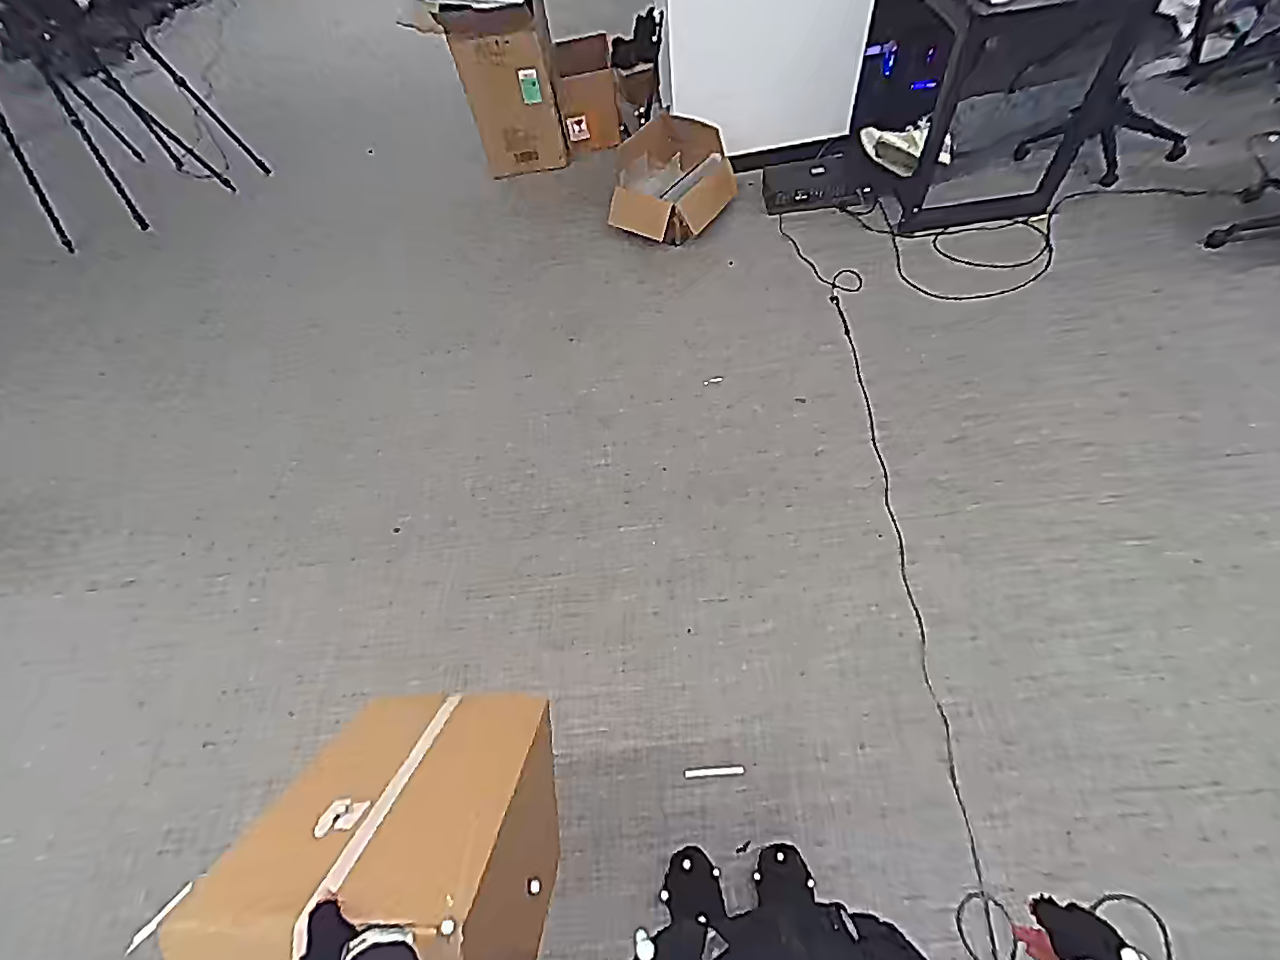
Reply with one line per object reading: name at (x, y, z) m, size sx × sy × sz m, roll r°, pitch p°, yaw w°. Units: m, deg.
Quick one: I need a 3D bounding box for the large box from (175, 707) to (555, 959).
large box at (-0.315, 0.578, 0.765) m, size 0.320 × 0.408 × 0.320 m, roll -3°, pitch 100°, yaw 4°
